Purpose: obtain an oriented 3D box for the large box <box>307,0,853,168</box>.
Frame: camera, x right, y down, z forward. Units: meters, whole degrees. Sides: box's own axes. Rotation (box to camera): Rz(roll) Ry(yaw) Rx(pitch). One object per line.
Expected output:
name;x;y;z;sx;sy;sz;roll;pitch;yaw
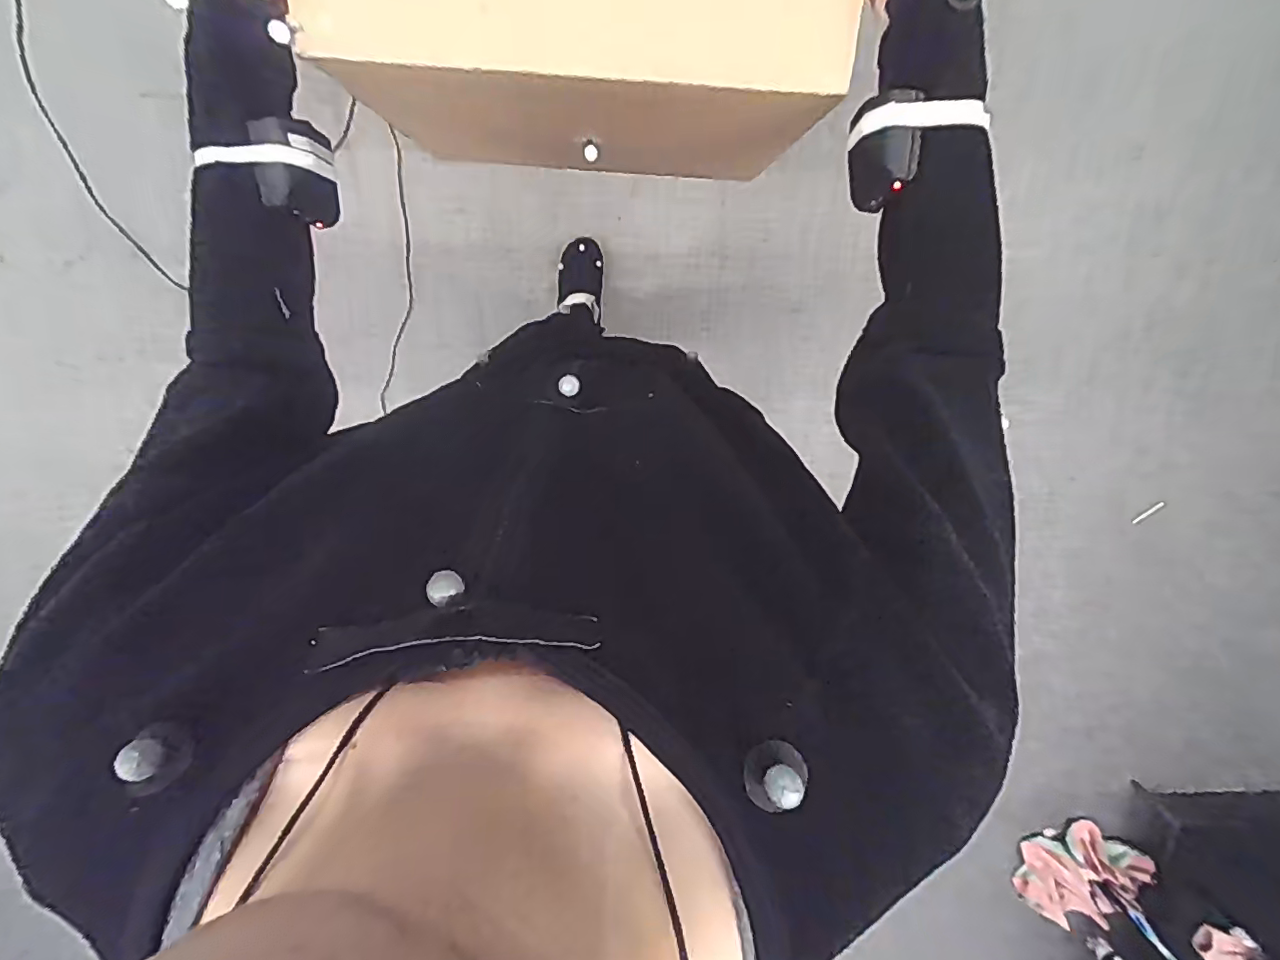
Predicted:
large box;-0.040;-0.496;0.499;0.408;0.320;0.320;2;108;-2
